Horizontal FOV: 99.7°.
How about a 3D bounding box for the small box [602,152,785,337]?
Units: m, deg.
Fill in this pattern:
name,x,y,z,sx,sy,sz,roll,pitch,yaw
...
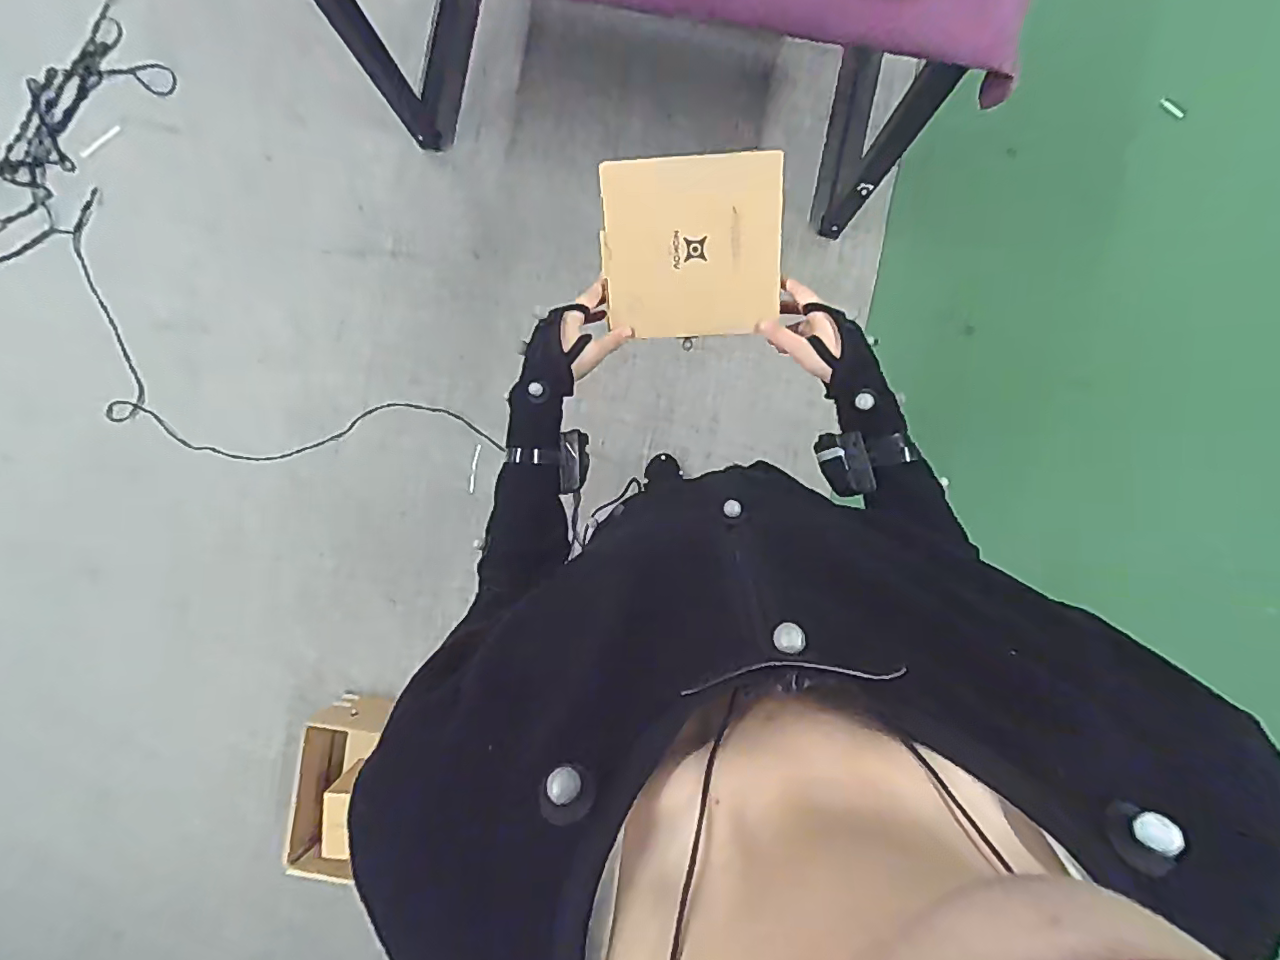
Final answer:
name,x,y,z,sx,sy,sz,roll,pitch,yaw
small box,0.058,-0.249,0.610,0.179,0.176,0.168,-1,105,4
